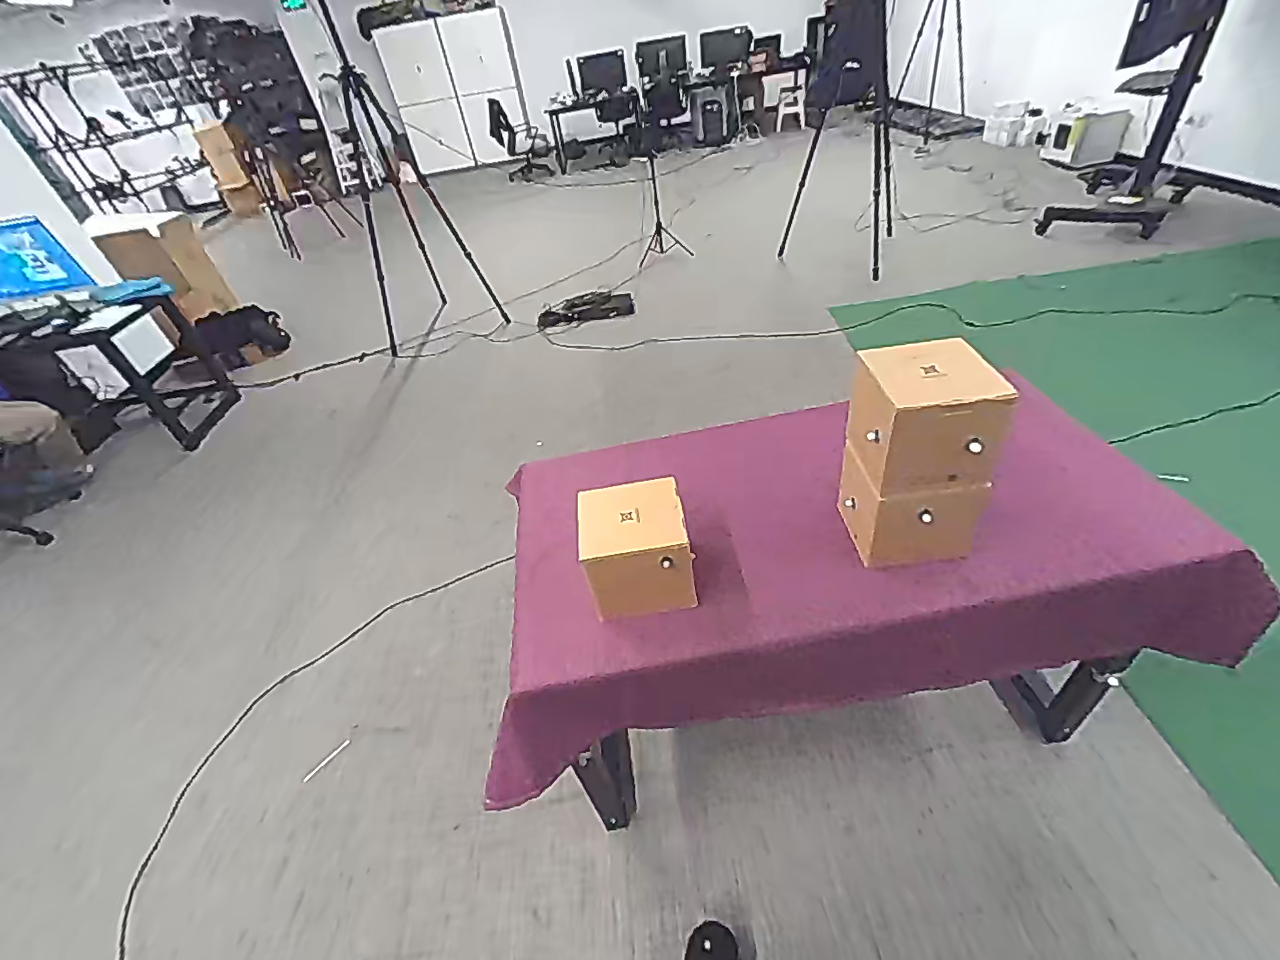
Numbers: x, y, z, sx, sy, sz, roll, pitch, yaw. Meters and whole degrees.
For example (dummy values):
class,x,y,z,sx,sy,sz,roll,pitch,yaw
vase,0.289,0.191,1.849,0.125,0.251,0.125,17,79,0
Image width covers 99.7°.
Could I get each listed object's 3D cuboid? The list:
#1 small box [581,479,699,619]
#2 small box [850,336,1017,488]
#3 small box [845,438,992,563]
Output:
class,x,y,z,sx,sy,sz,roll,pitch,yaw
small box,0.000,0.124,0.953,0.179,0.176,0.168,-10,40,1
small box,0.441,-0.100,0.846,0.168,0.176,0.179,-7,40,5
small box,0.468,0.028,0.944,0.179,0.176,0.168,-8,41,5
